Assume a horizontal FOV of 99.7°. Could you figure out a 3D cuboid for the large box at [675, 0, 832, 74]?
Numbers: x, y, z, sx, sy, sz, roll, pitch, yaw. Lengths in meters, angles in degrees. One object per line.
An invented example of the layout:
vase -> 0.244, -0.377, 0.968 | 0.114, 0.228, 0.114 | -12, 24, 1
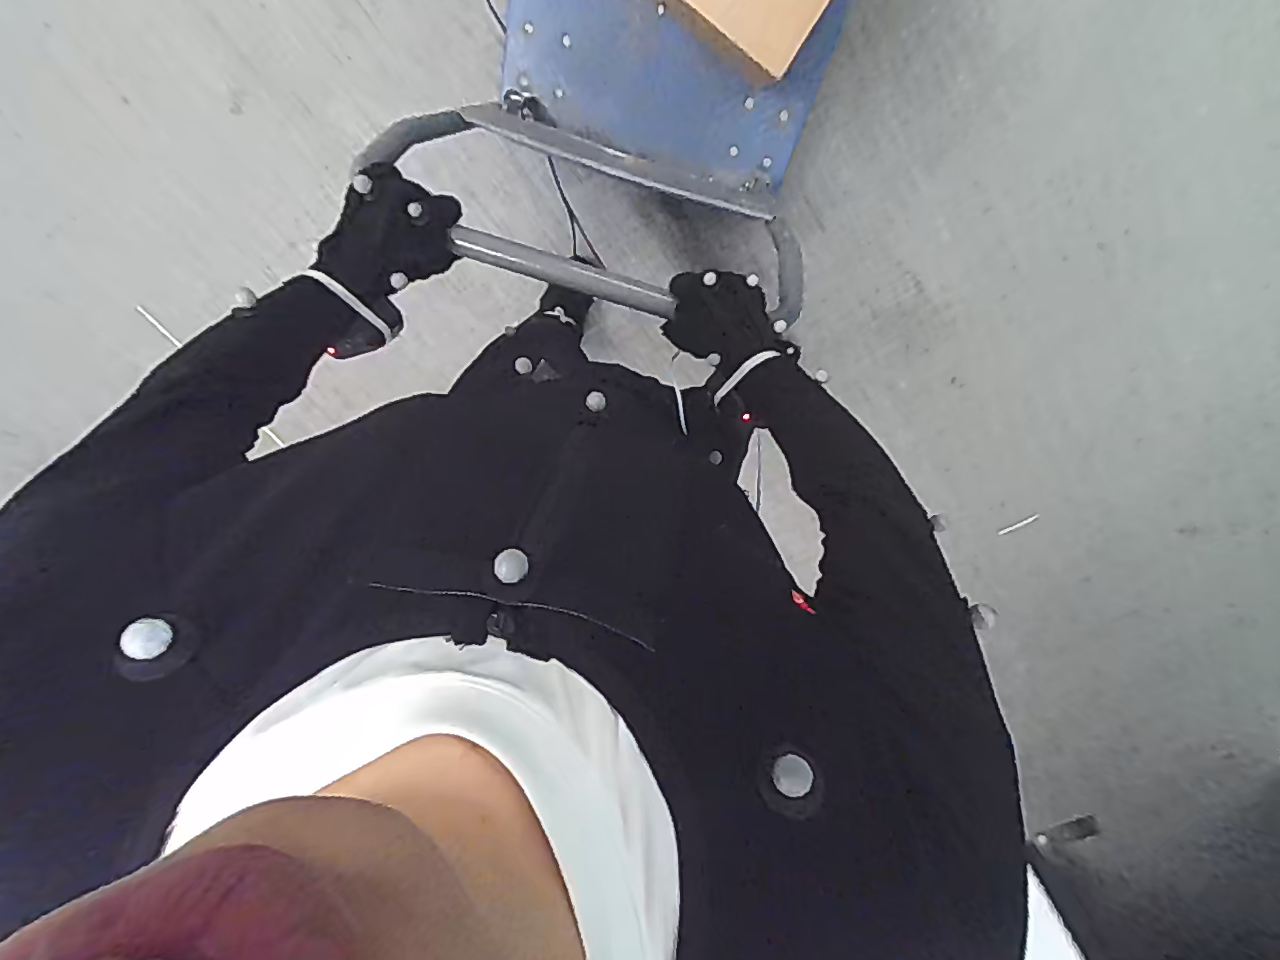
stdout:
large box -> 0.131, -0.840, 0.738 | 0.408, 0.320, 0.320 | 30, 123, -13
